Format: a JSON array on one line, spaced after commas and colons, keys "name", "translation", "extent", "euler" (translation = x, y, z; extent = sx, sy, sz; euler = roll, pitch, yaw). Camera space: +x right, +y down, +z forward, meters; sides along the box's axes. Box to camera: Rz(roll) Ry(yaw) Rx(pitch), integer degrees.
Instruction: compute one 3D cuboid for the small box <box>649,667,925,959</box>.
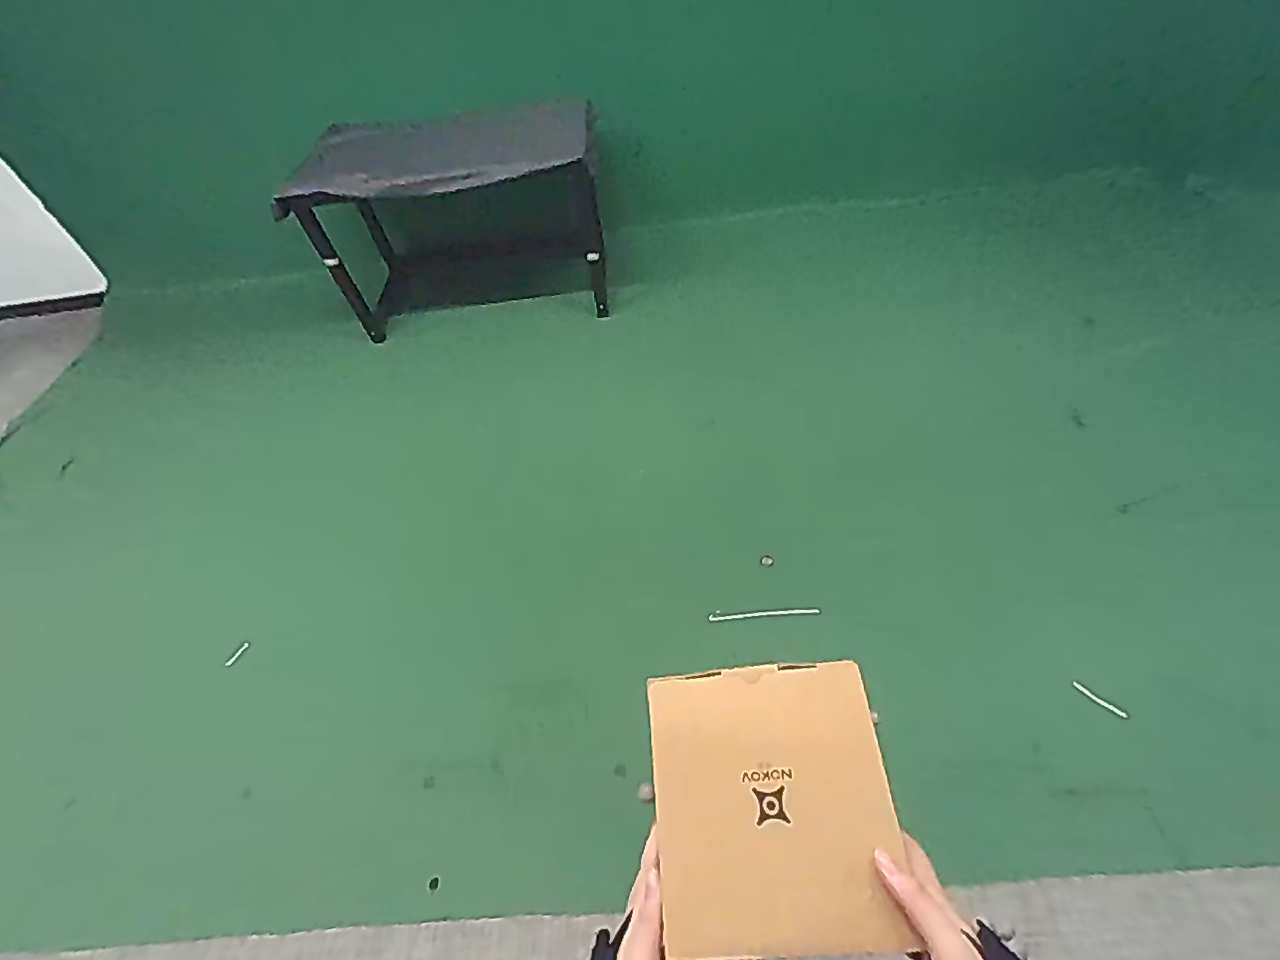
[{"name": "small box", "translation": [0.103, 0.264, 0.448], "extent": [0.168, 0.176, 0.179], "euler": [-7, 60, 5]}]
